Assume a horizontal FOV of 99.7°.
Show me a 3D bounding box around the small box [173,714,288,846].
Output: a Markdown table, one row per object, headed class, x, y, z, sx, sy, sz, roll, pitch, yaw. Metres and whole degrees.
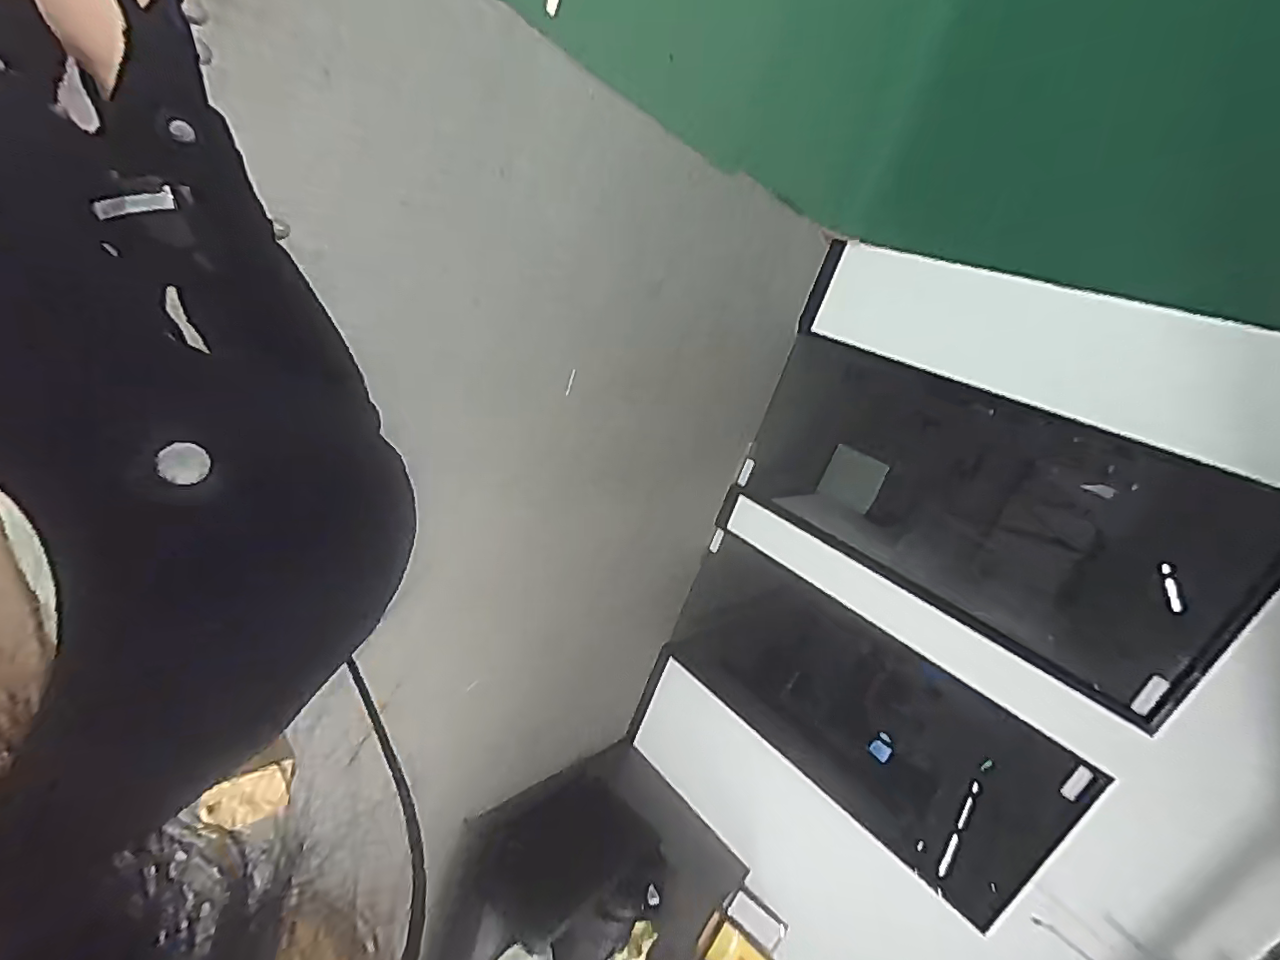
| class | x | y | z | sx | sy | sz | roll | pitch | yaw |
| --- | --- | --- | --- | --- | --- | --- | --- | --- | --- |
| small box | -0.948 | 0.680 | 1.250 | 0.179 | 0.176 | 0.168 | -5 | 120 | -49 |
